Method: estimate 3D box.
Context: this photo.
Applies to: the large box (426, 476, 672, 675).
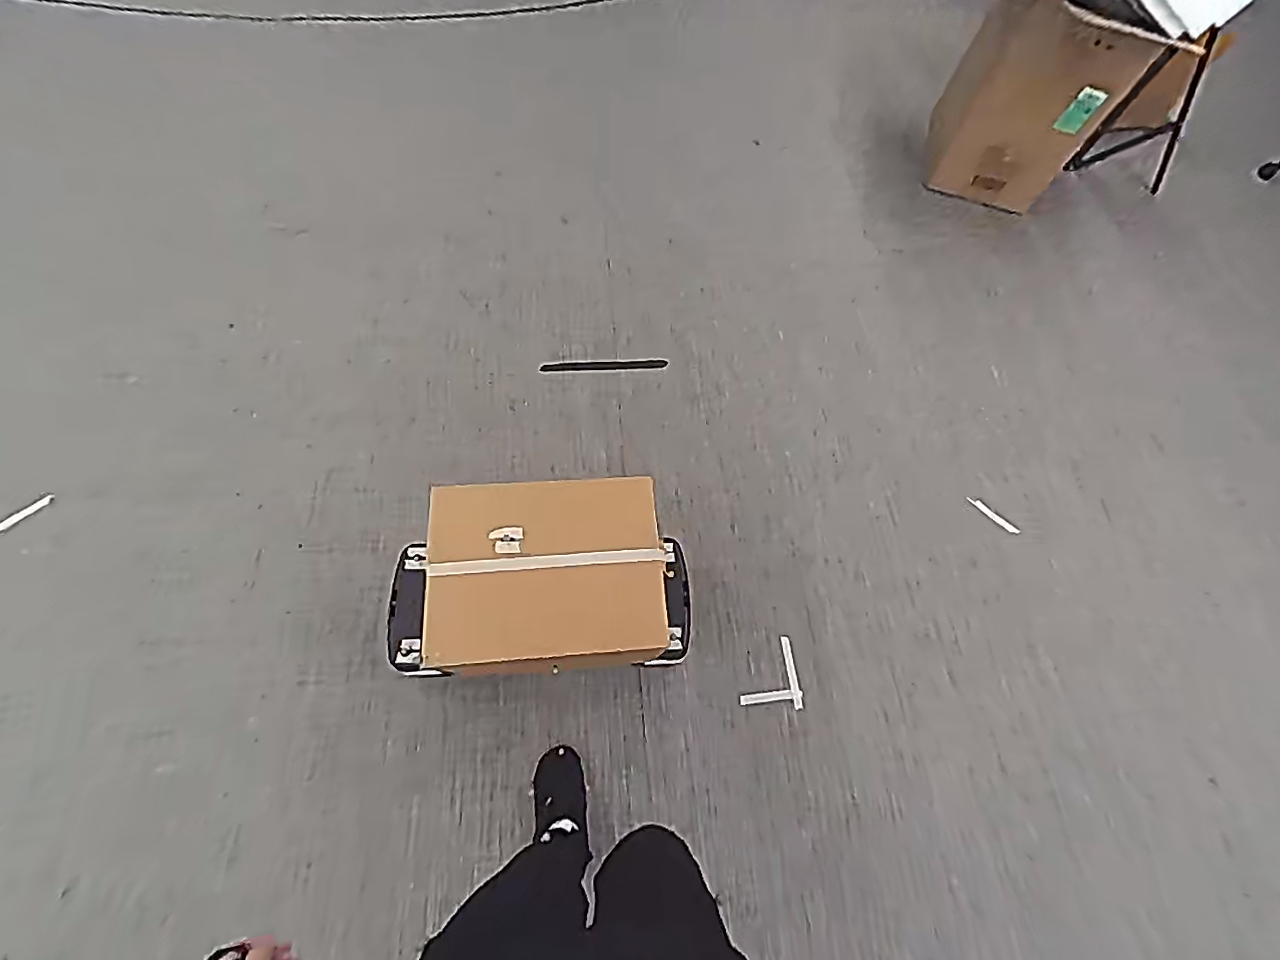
[{"bbox_3d":[-0.165,0.201,1.068,0.408,0.320,0.320,-3,67,-5],"label":"large box"}]
